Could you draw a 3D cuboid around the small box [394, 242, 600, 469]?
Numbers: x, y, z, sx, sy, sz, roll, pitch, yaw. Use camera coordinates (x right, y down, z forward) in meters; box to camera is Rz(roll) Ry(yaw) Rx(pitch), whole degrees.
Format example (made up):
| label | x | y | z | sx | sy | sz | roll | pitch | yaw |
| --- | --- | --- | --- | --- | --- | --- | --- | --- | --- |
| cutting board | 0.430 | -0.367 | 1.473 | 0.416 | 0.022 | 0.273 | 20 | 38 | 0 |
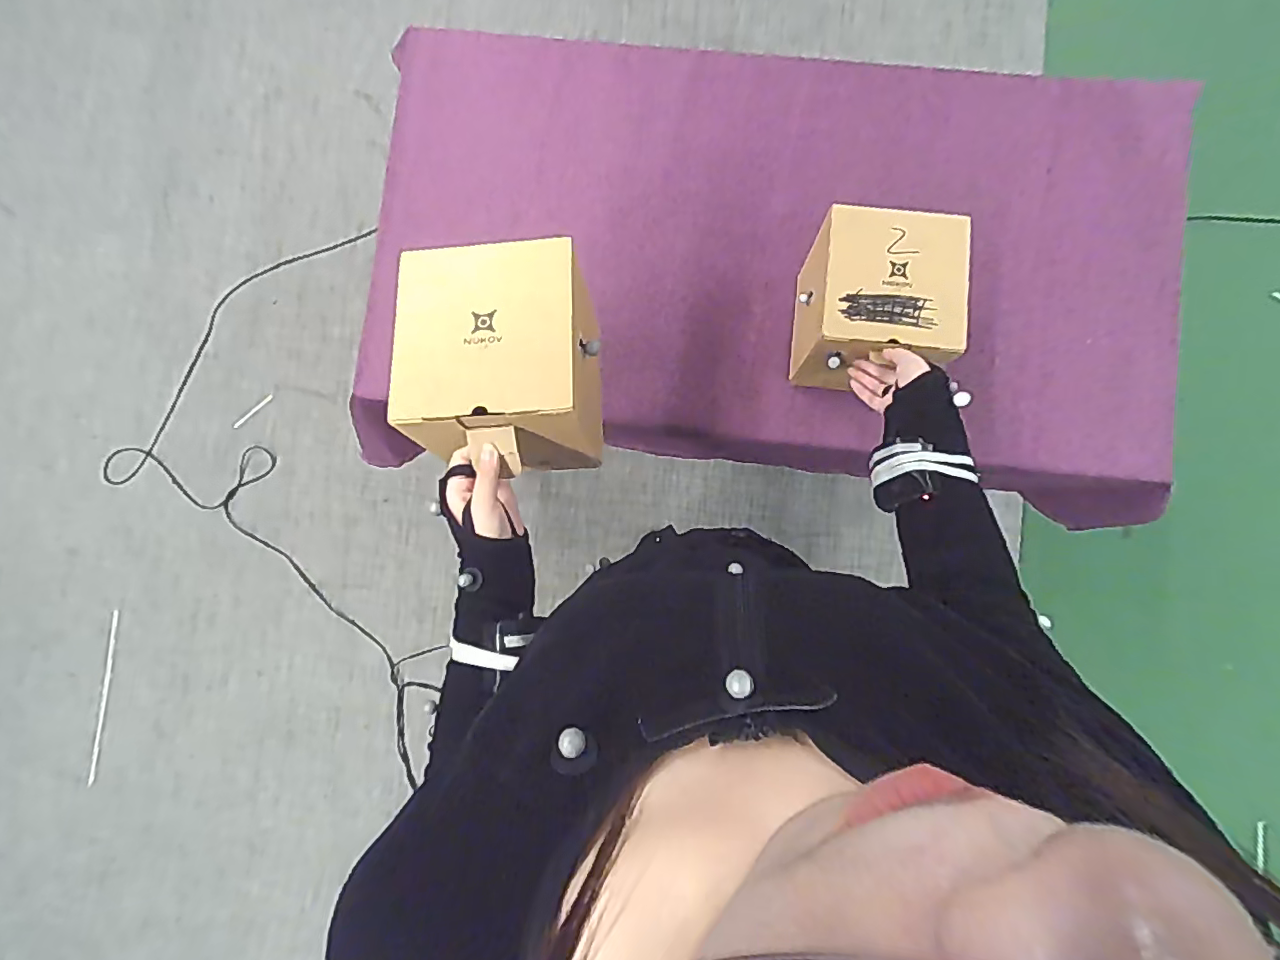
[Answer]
| label | x | y | z | sx | sy | sz | roll | pitch | yaw |
| --- | --- | --- | --- | --- | --- | --- | --- | --- | --- |
| small box | -0.137 | -0.120 | 0.578 | 0.168 | 0.176 | 0.179 | -4 | 76 | 4 |
